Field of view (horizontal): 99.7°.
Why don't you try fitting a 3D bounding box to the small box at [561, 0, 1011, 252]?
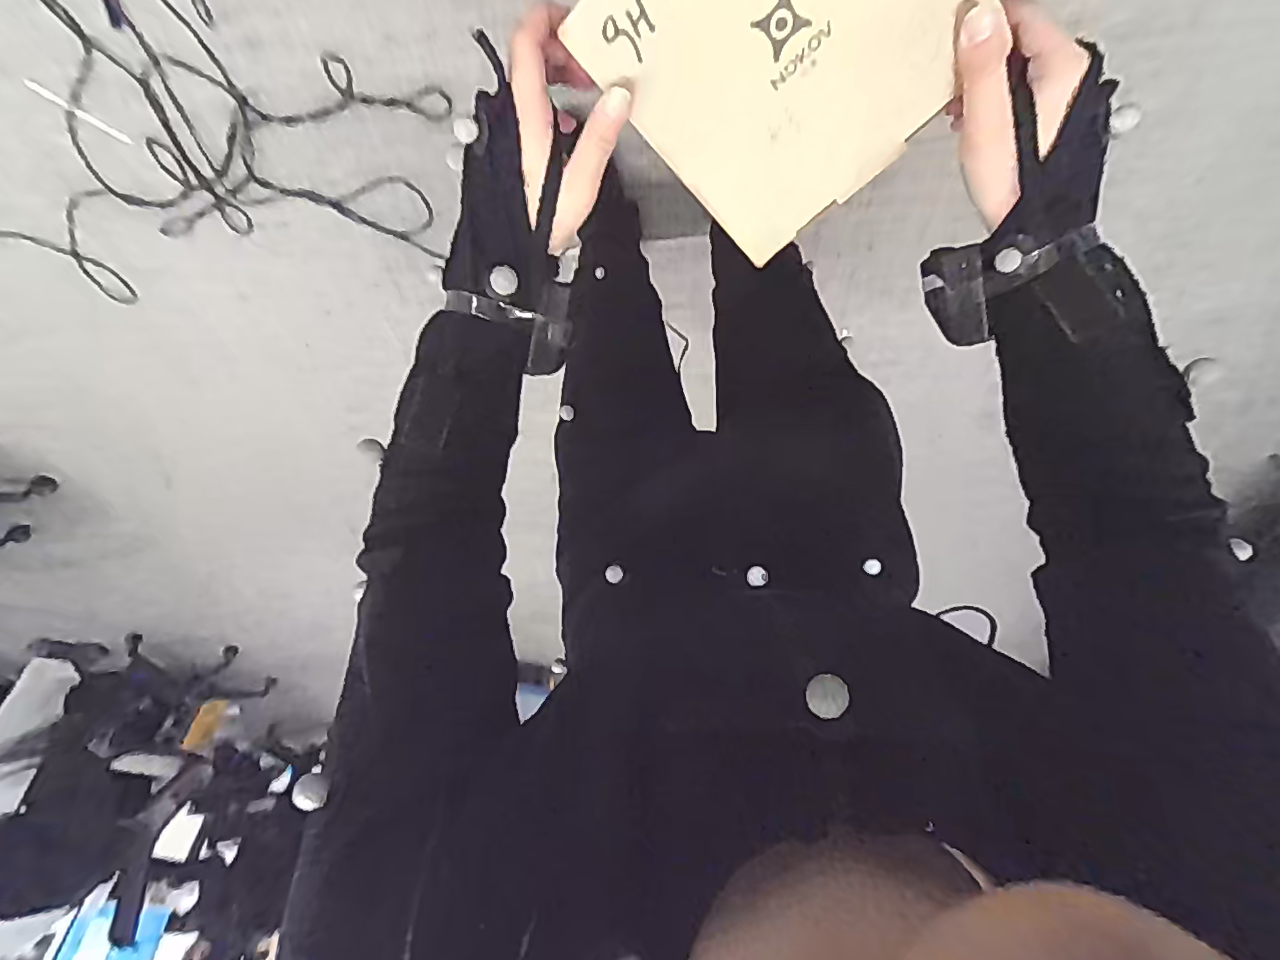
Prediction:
[{"bbox_3d":[0.075,-0.288,0.330,0.179,0.176,0.168,34,126,-31],"label":"small box"}]
